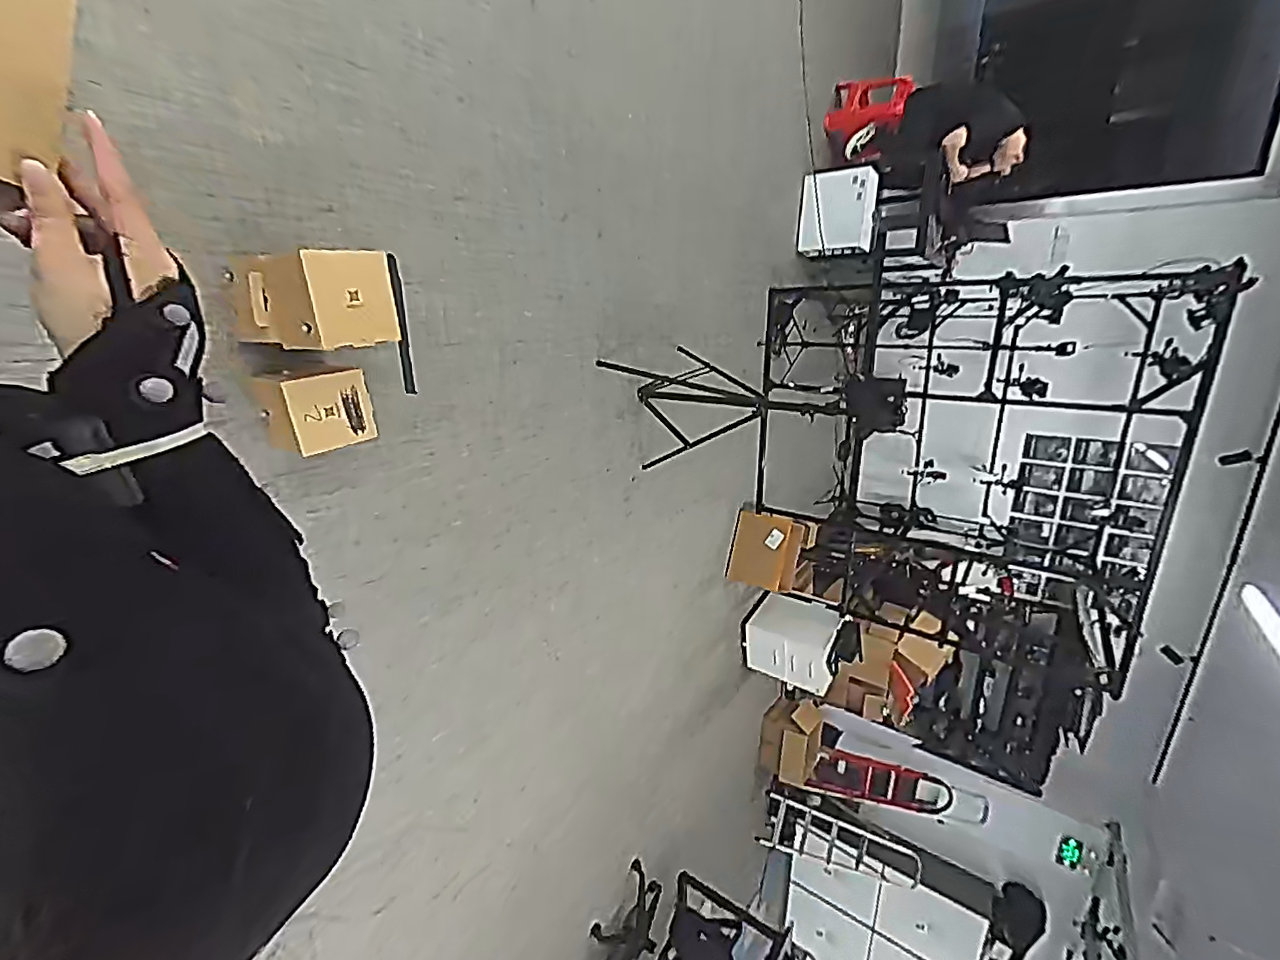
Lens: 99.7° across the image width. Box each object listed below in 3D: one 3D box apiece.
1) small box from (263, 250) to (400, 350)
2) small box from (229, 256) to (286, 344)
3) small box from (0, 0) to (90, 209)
[{"bbox_3d":[-0.620,-0.360,1.087,0.168,0.176,0.179,-28,122,-49],"label":"small box"},{"bbox_3d":[-0.757,-0.381,1.171,0.179,0.176,0.168,-18,114,-53],"label":"small box"},{"bbox_3d":[-0.428,-0.258,0.276,0.179,0.176,0.168,5,97,-57],"label":"small box"}]
